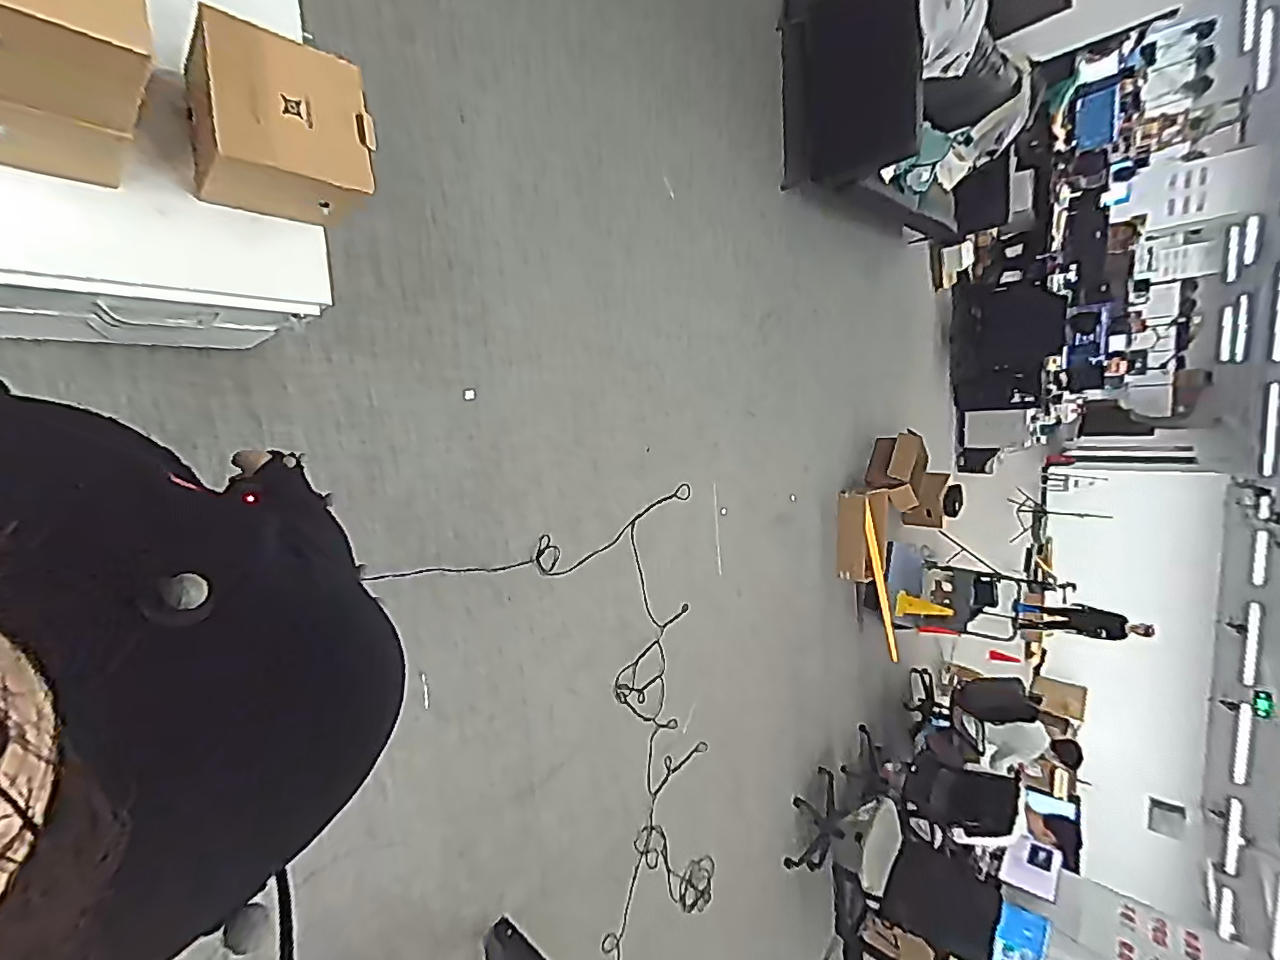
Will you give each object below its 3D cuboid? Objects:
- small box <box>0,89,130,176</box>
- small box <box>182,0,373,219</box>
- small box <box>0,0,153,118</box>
[{"bbox_3d":[-0.651,-0.437,0.547,0.179,0.176,0.168,-9,100,-47],"label":"small box"},{"bbox_3d":[-0.485,-0.470,0.726,0.179,0.176,0.168,-8,98,-45],"label":"small box"},{"bbox_3d":[-0.530,-0.433,0.436,0.179,0.176,0.168,-10,100,-49],"label":"small box"}]
